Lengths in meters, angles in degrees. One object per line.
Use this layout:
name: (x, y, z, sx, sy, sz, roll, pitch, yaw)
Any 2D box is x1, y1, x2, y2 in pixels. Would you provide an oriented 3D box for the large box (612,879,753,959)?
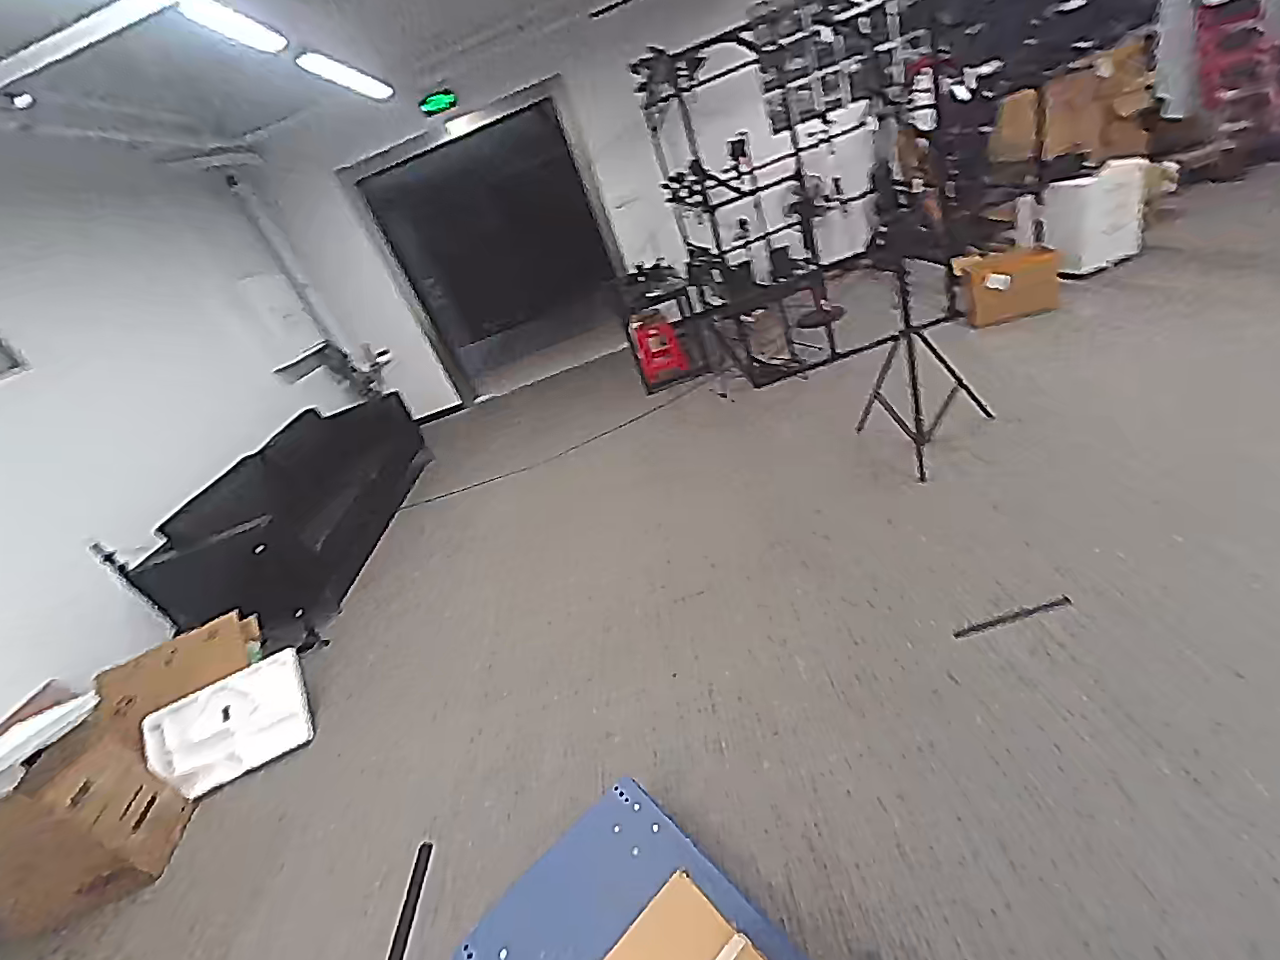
large box: (0.067, 0.976, 0.840, 0.408, 0.320, 0.320, -36, 31, -26)
